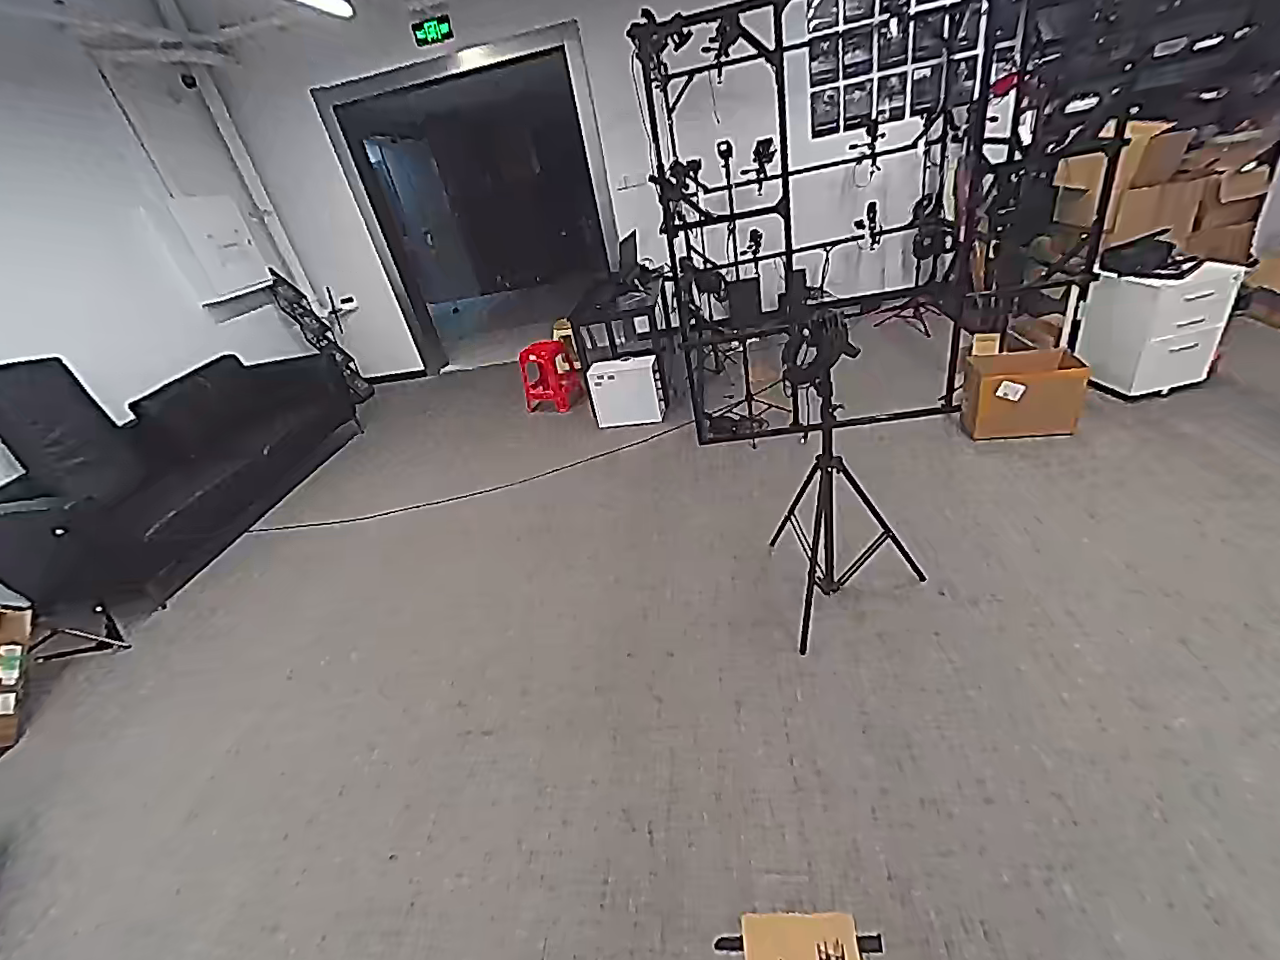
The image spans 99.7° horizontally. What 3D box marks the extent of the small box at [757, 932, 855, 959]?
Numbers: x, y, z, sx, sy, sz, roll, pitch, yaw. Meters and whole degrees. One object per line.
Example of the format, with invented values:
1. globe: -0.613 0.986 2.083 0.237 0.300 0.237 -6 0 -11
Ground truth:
1. small box: 0.295 0.922 0.930 0.168 0.176 0.179 -7 32 10
